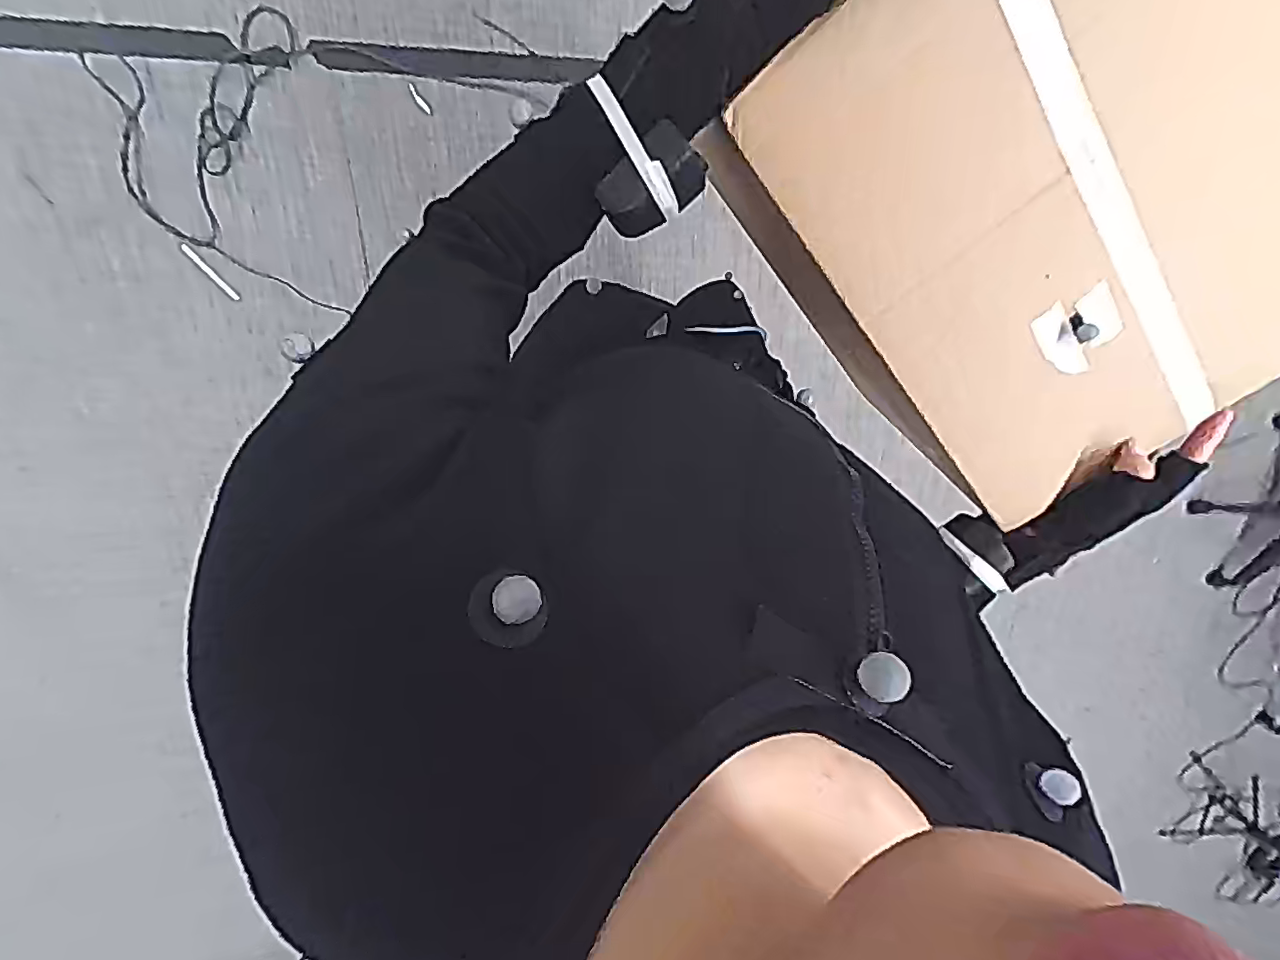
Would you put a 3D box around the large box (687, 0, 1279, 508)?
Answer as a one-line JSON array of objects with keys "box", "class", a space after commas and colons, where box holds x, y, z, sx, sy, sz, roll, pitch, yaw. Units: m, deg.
[{"box": [0.292, -0.261, 0.489, 0.320, 0.320, 0.408, -37, 114, 20], "class": "large box"}]
